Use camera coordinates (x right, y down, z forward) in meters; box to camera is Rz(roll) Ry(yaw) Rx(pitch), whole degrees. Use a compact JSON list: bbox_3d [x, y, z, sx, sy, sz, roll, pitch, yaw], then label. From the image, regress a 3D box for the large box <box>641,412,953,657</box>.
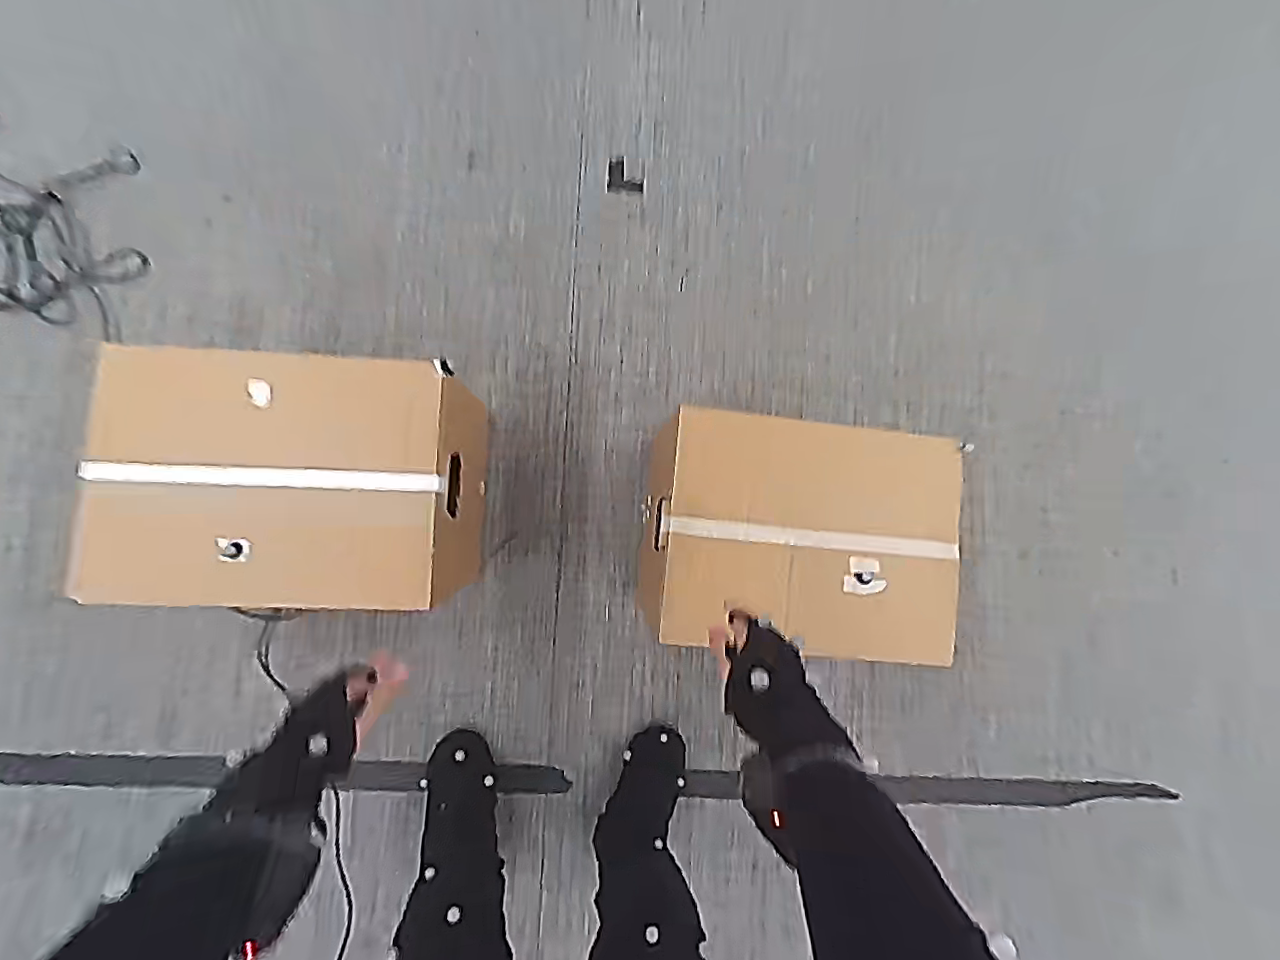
[{"bbox_3d":[0.223,0.089,0.890,0.408,0.320,0.320,6,85,-6],"label":"large box"}]
